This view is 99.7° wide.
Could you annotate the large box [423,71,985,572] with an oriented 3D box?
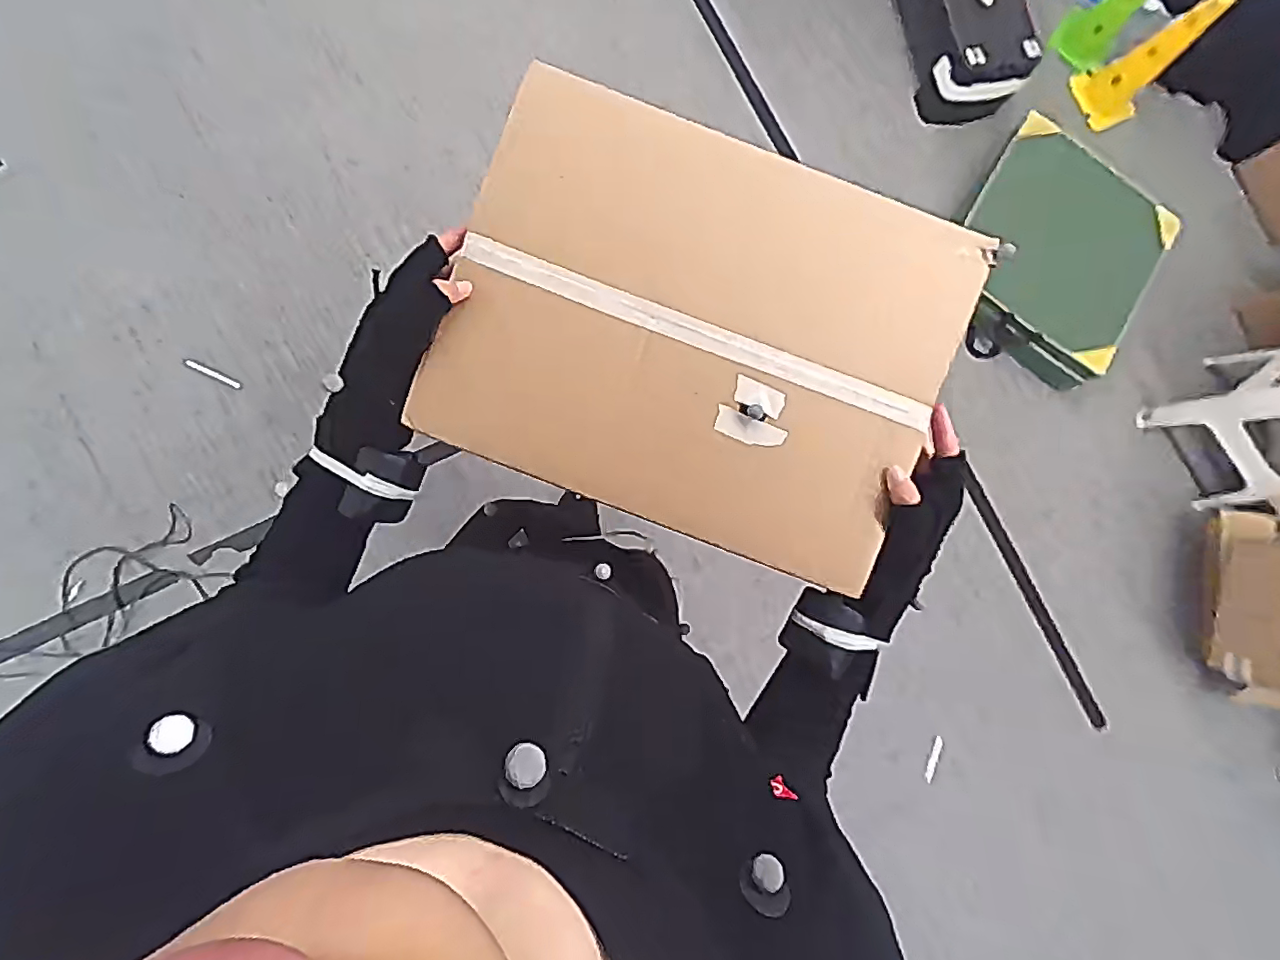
[{"bbox_3d":[0.051,-0.135,0.602,0.408,0.320,0.320,22,93,-1],"label":"large box"}]
